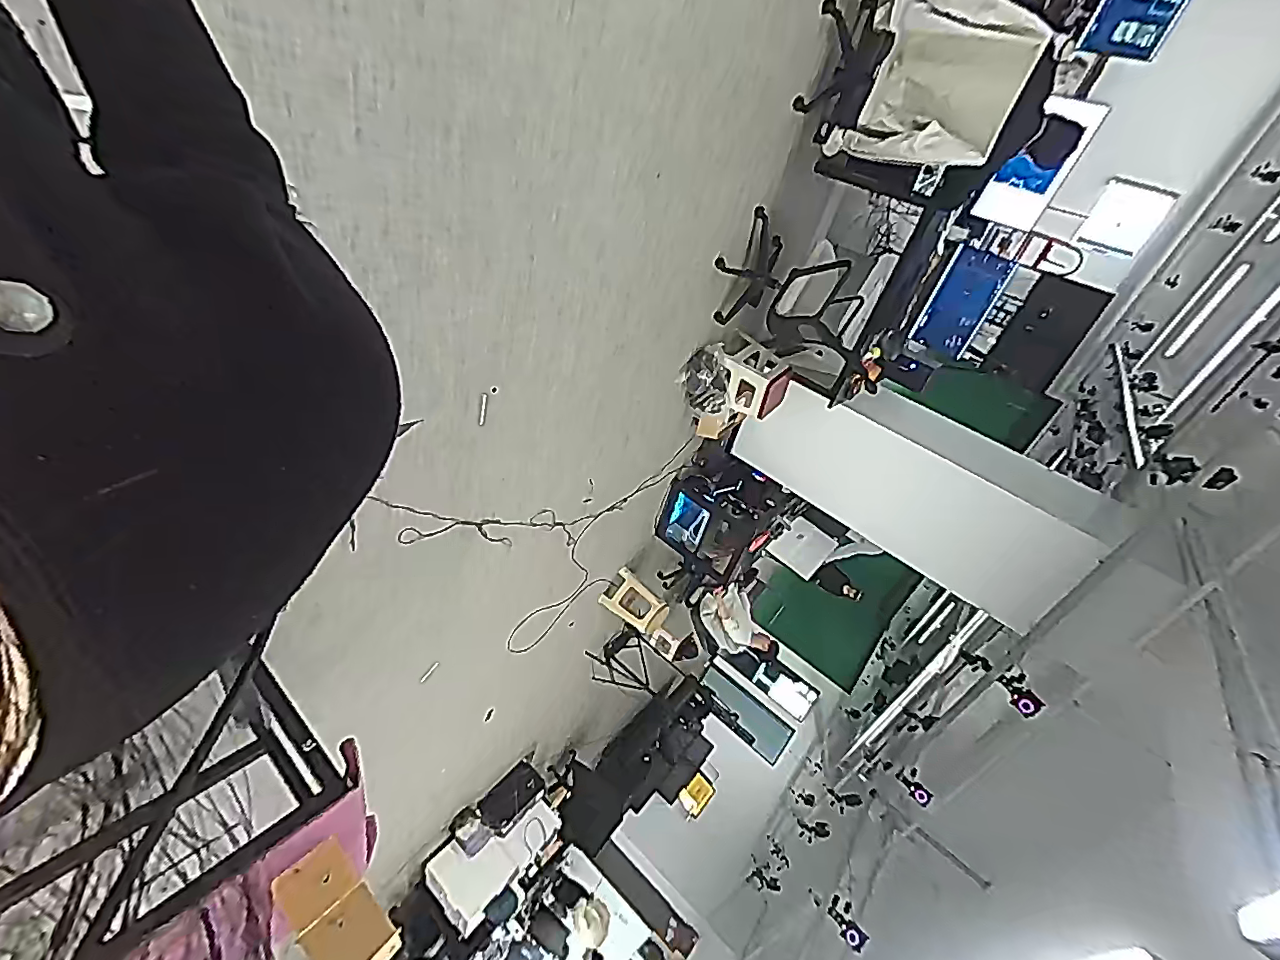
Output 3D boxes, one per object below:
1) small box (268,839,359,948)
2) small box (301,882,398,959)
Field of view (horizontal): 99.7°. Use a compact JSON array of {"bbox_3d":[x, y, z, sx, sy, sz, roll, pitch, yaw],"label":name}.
[{"bbox_3d":[-0.906,1.153,1.510,0.168,0.176,0.179,-30,147,-44],"label":"small box"},{"bbox_3d":[-0.782,1.244,1.452,0.179,0.176,0.168,-31,147,-42],"label":"small box"}]
